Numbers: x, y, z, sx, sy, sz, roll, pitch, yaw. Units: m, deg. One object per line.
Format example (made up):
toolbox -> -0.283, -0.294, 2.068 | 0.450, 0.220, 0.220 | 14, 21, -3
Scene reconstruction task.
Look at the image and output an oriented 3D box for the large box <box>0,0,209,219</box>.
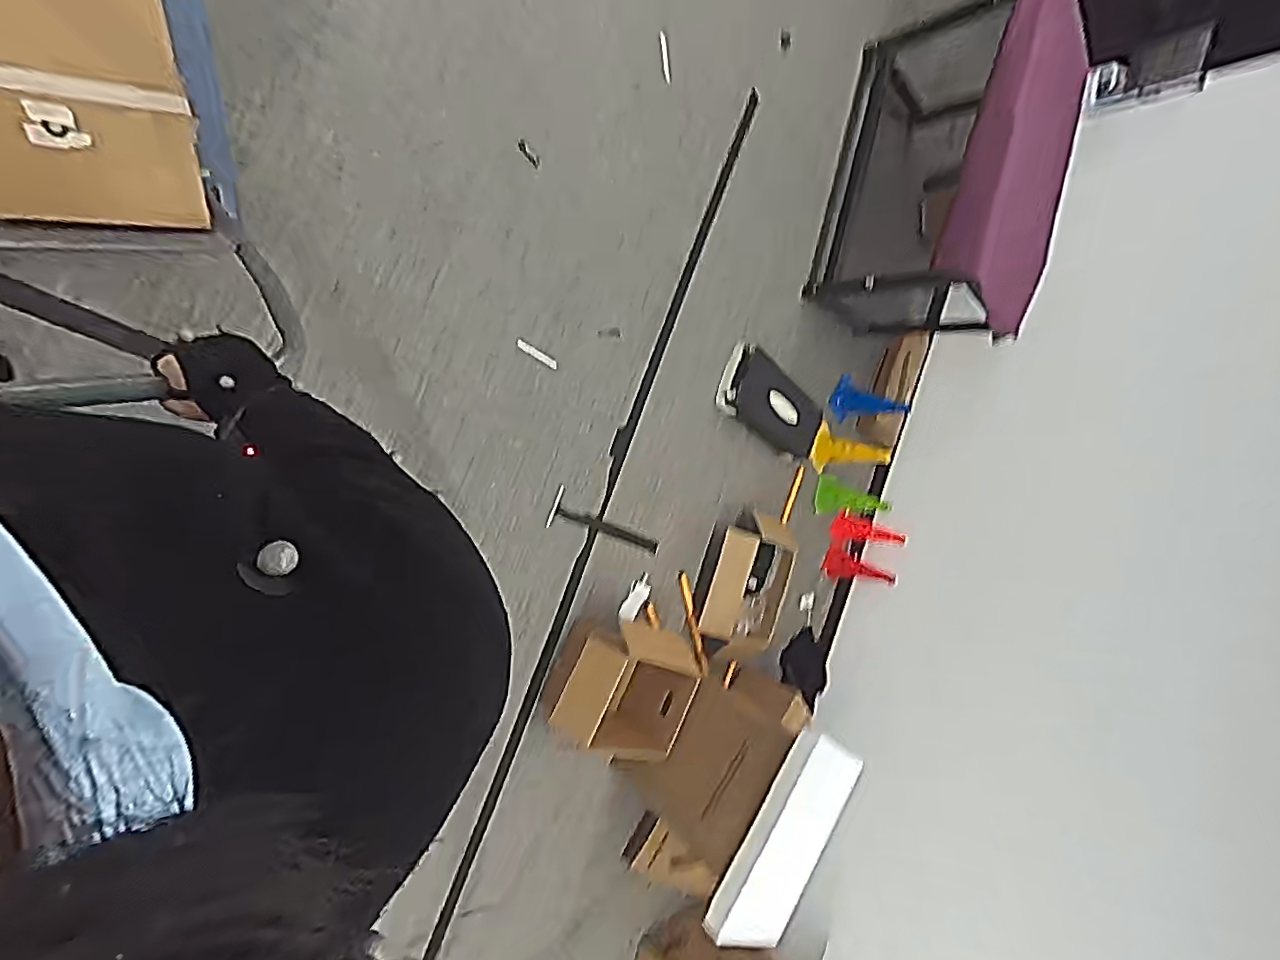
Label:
large box -> -0.871, -0.544, 0.704 | 0.408, 0.320, 0.320 | -18, 132, -39
